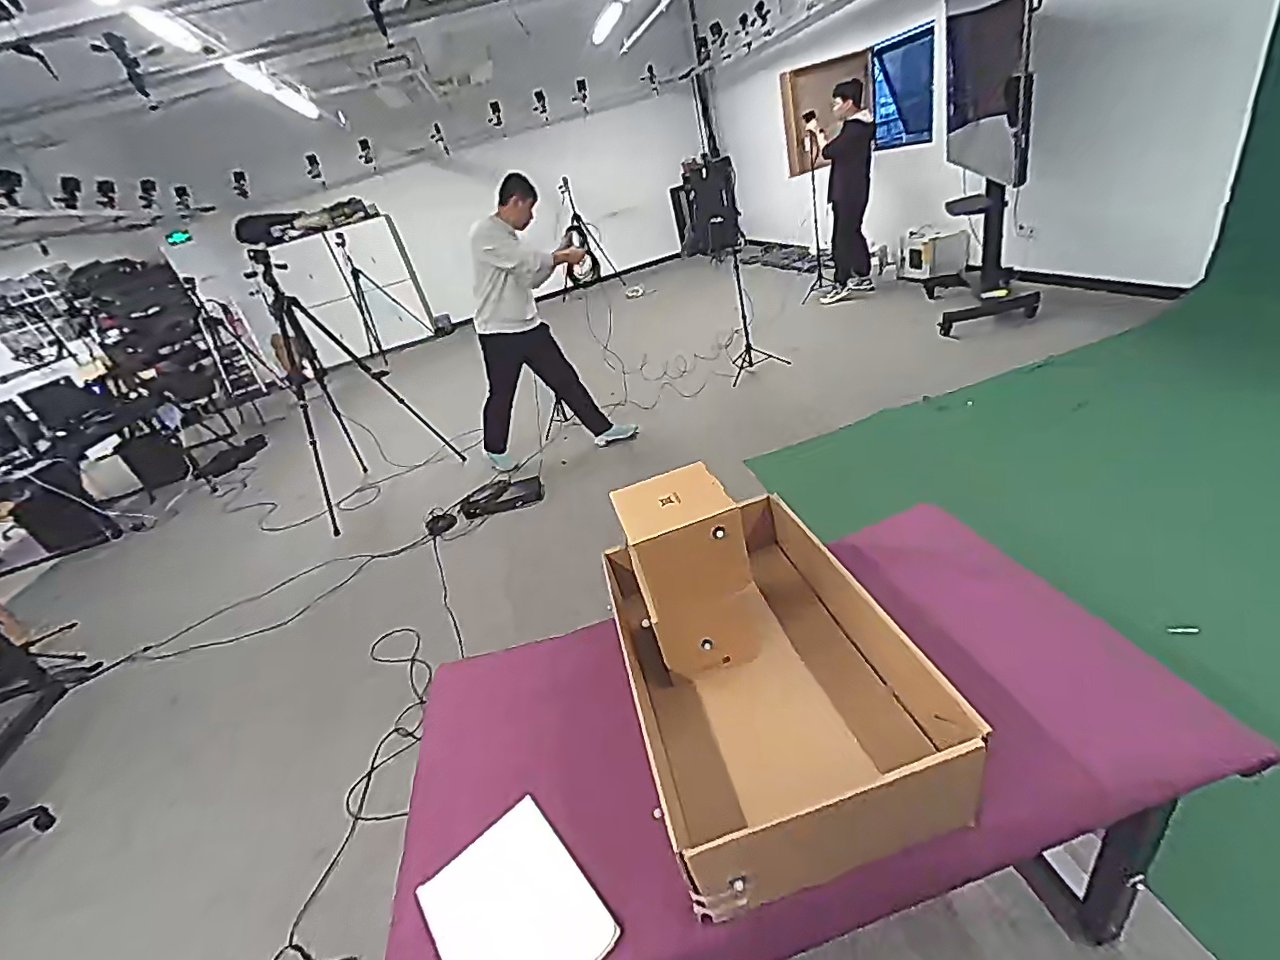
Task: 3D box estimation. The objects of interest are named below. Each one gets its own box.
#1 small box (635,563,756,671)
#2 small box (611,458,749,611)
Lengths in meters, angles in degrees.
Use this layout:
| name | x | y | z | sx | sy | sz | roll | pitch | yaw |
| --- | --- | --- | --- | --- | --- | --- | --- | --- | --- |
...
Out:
| name | x | y | z | sx | sy | sz | roll | pitch | yaw |
| --- | --- | --- | --- | --- | --- | --- | --- | --- | --- |
| small box | 0.101 | 0.227 | 1.000 | 0.168 | 0.176 | 0.179 | -18 | 31 | -3 |
| small box | 0.068 | 0.093 | 0.915 | 0.179 | 0.176 | 0.168 | -19 | 31 | -5 |
